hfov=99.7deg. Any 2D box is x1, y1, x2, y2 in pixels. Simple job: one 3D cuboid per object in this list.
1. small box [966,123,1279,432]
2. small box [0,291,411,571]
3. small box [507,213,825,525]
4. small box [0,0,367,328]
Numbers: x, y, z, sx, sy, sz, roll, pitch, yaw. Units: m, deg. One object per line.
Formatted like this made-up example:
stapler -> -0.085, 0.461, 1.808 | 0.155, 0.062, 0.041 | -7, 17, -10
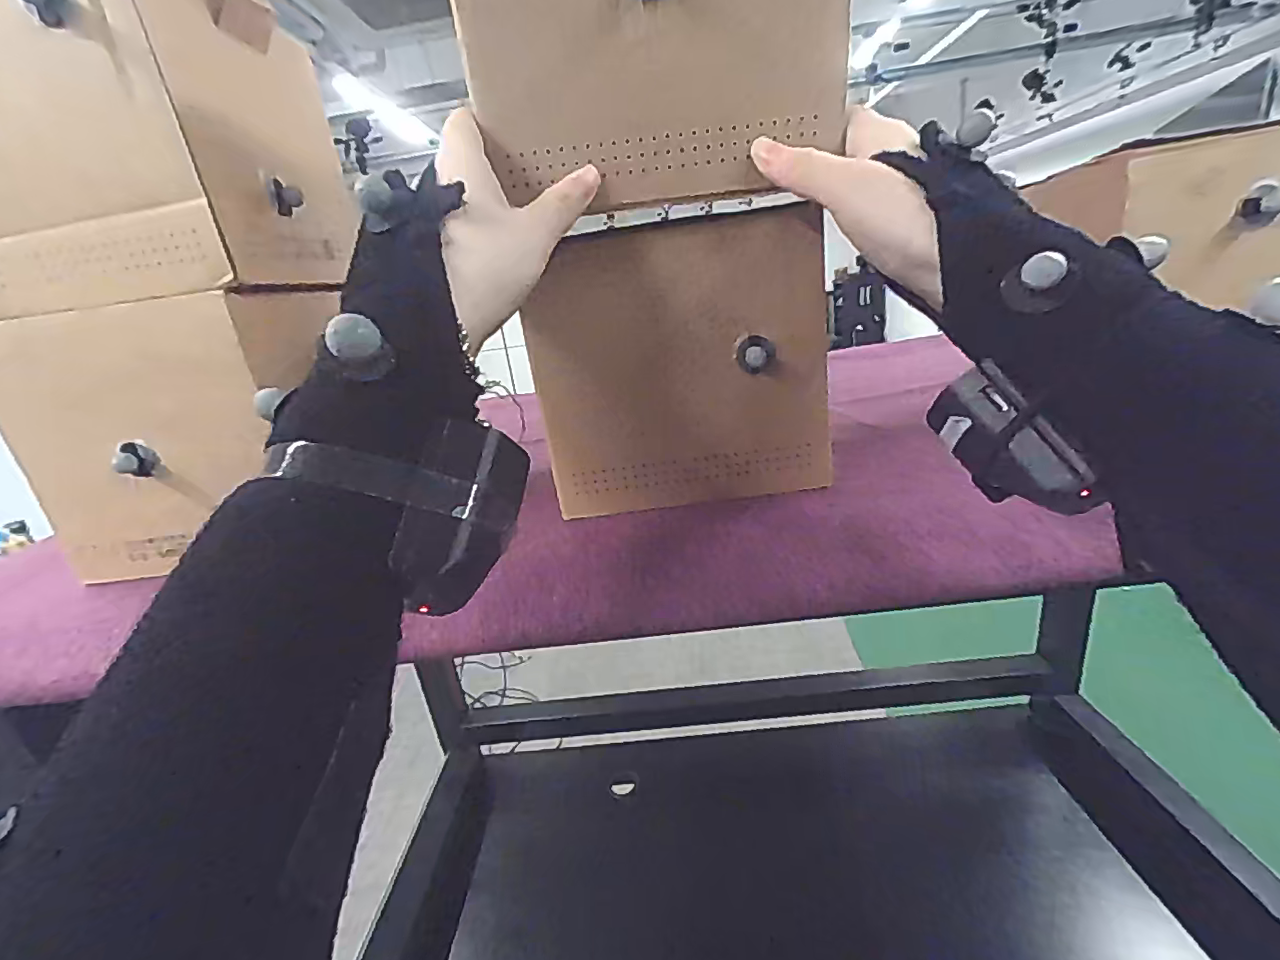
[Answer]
small box -> 0.368, -0.137, 0.393 | 0.179, 0.176, 0.168 | -7, 17, 5
small box -> -0.296, -0.042, 0.404 | 0.168, 0.176, 0.179 | -6, 20, 2
small box -> 0.024, -0.082, 0.393 | 0.179, 0.176, 0.168 | -8, 19, 3
small box -> -0.316, -0.194, 0.349 | 0.179, 0.176, 0.168 | -7, 21, 1
